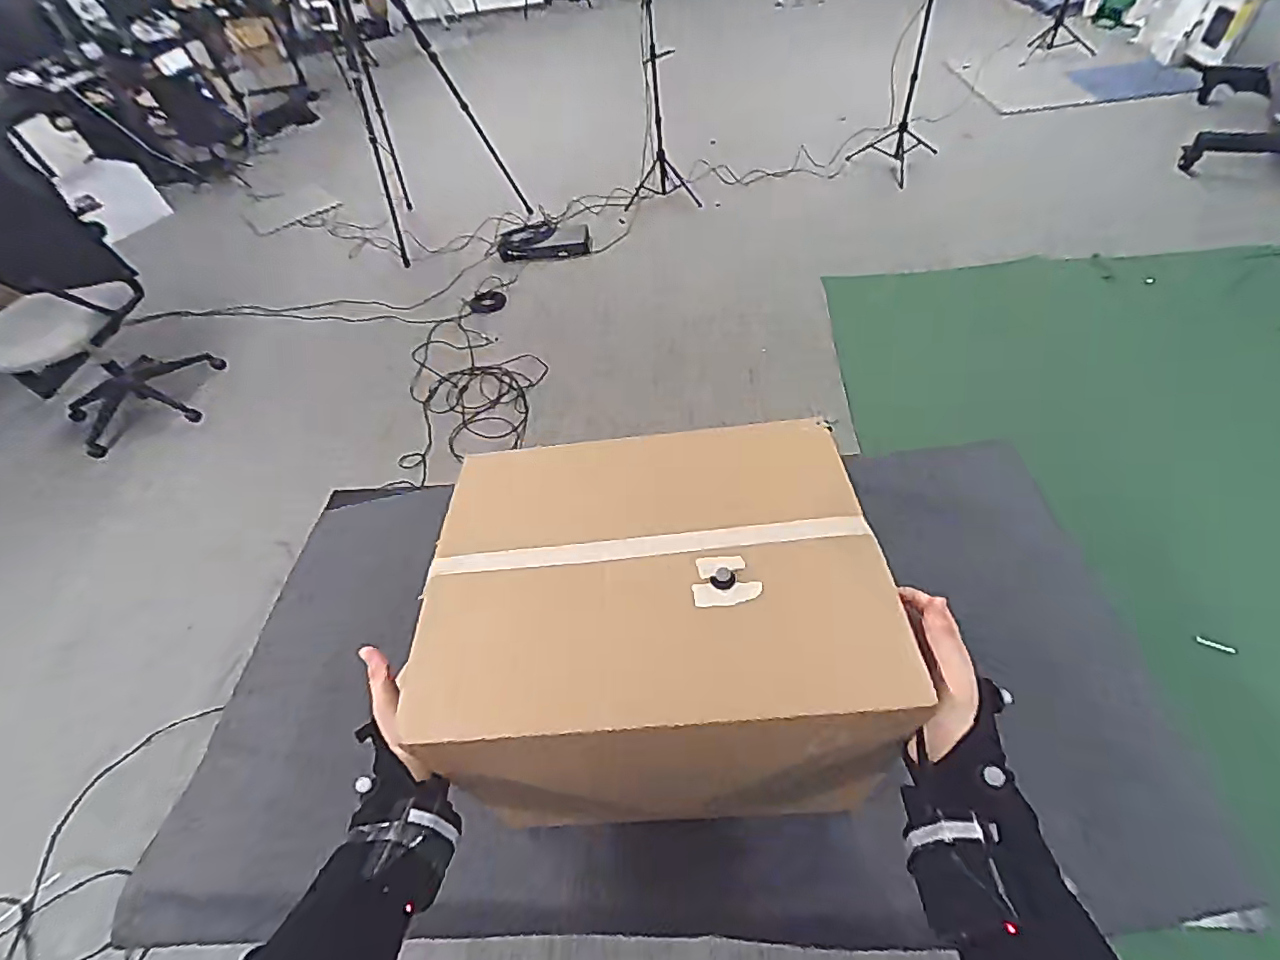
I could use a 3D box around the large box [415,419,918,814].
[{"bbox_3d":[0.025,0.165,0.626,0.408,0.320,0.320,-6,48,3],"label":"large box"}]
